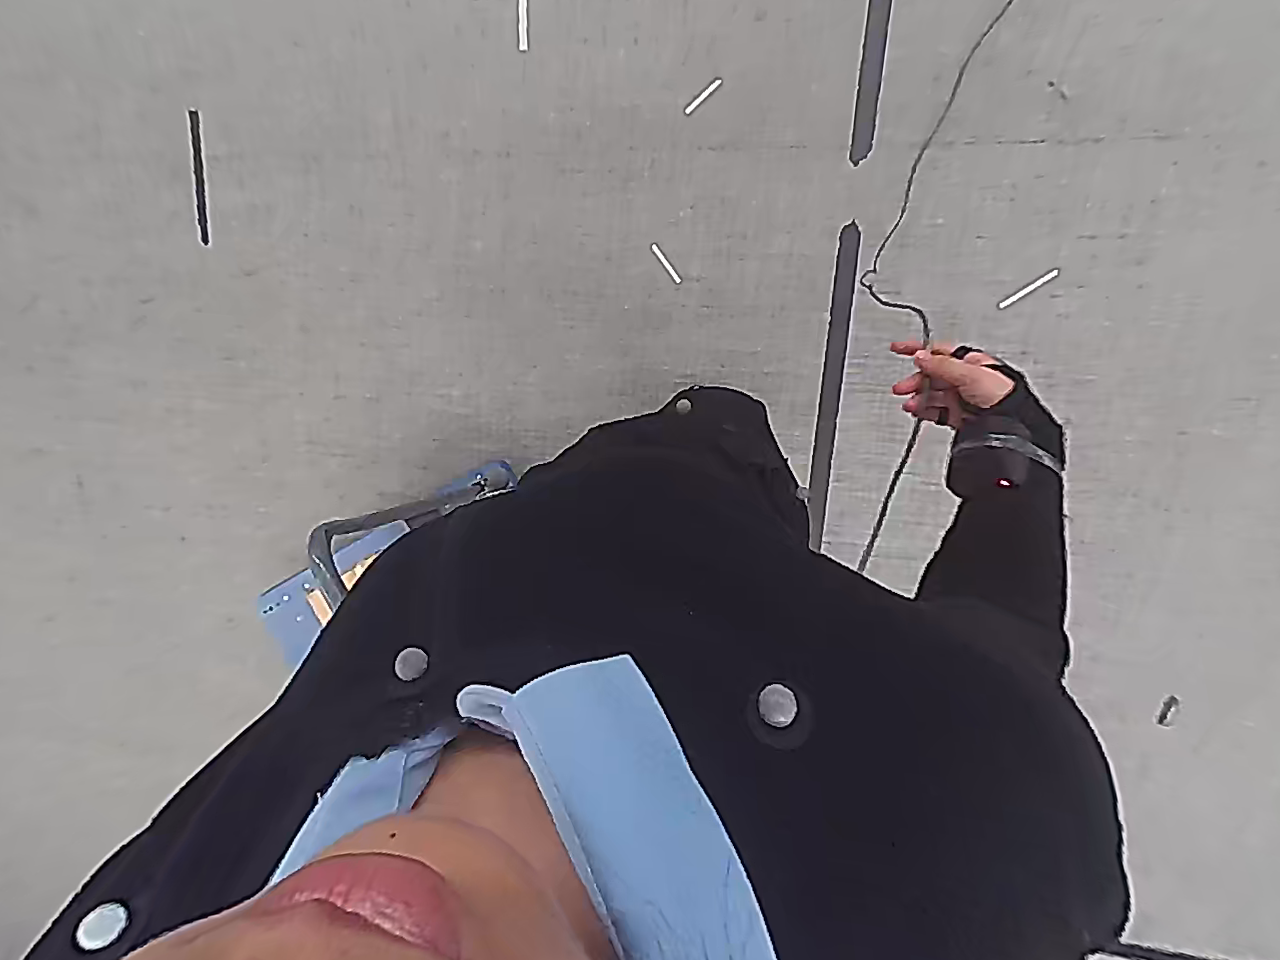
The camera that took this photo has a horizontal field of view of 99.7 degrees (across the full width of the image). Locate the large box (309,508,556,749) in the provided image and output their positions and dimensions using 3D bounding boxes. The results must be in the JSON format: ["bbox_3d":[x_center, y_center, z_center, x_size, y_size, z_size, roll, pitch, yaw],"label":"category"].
[{"bbox_3d":[-0.463,0.329,1.284,0.320,0.320,0.408,-28,92,11],"label":"large box"}]
